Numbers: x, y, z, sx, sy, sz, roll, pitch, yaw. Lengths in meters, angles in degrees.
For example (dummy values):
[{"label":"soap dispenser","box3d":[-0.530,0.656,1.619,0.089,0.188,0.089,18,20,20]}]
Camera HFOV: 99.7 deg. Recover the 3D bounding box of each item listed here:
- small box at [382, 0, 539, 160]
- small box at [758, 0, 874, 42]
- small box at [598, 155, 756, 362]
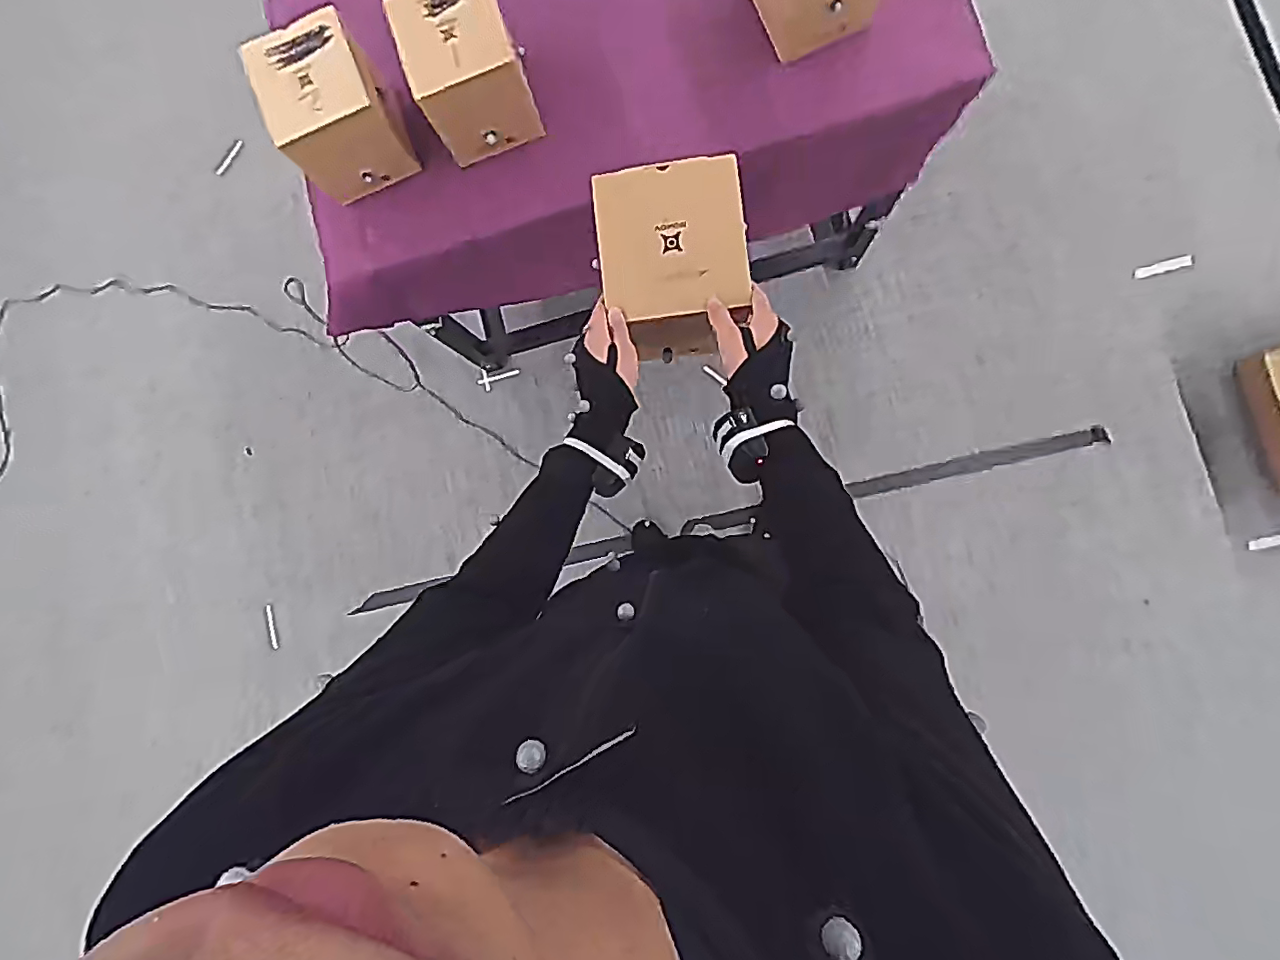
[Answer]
[{"label":"small box","box3d":[-0.284,-0.677,0.886,0.168,0.176,0.179,-19,86,5]},{"label":"small box","box3d":[0.274,-0.830,0.832,0.168,0.176,0.179,-22,85,5]},{"label":"small box","box3d":[0.044,-0.261,0.674,0.168,0.176,0.179,-5,86,4]}]
